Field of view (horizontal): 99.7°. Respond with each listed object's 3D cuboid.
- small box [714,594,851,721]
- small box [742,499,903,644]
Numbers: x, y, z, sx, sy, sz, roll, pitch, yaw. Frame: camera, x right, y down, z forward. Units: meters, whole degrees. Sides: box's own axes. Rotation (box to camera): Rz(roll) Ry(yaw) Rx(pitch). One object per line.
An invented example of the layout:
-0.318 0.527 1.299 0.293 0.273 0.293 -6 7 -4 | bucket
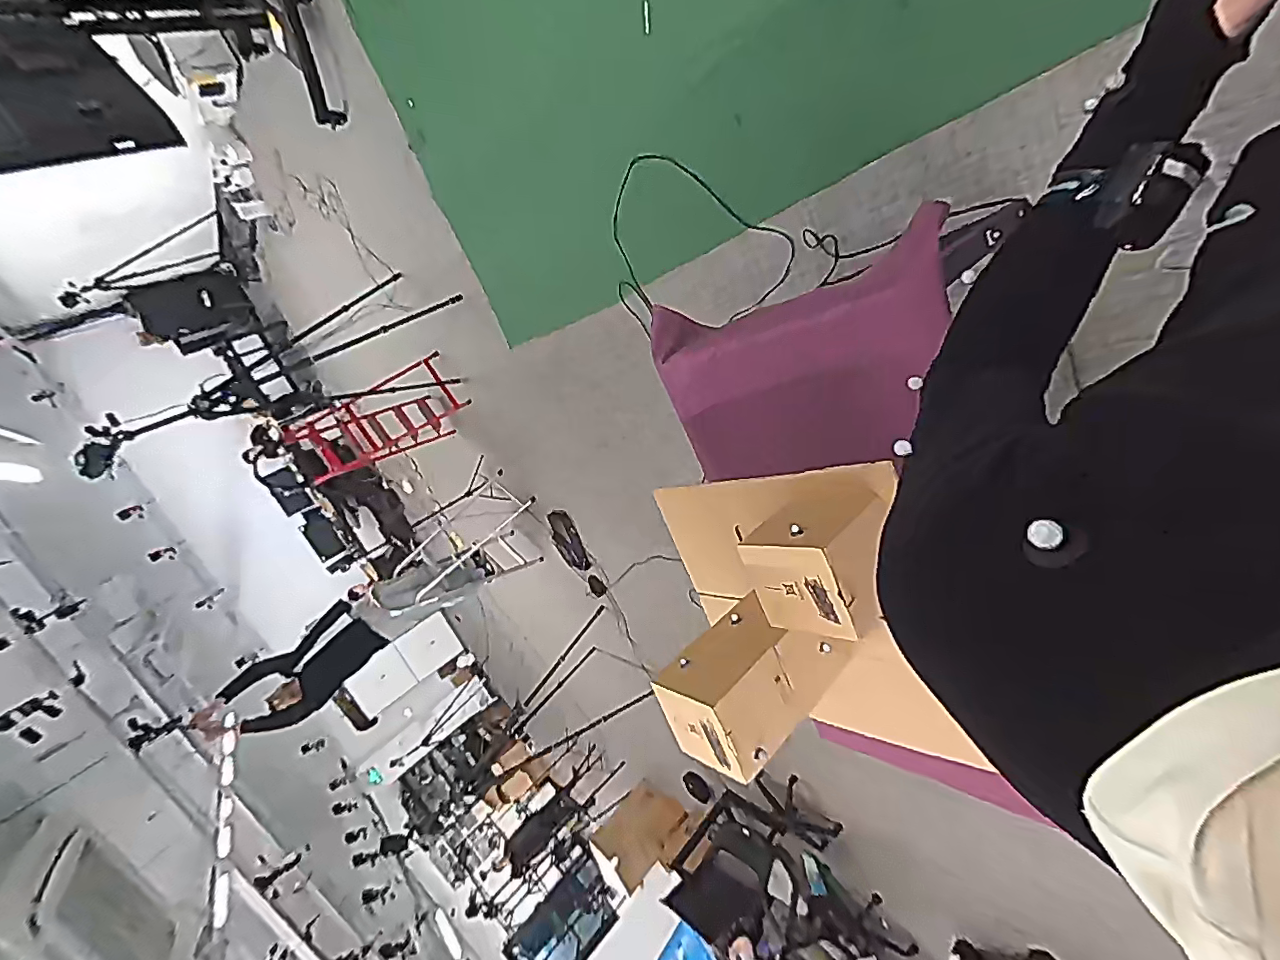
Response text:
0.286 0.338 1.082 0.179 0.176 0.168 -7 111 53 | small box
0.309 0.141 0.894 0.179 0.176 0.168 -8 111 55 | small box
